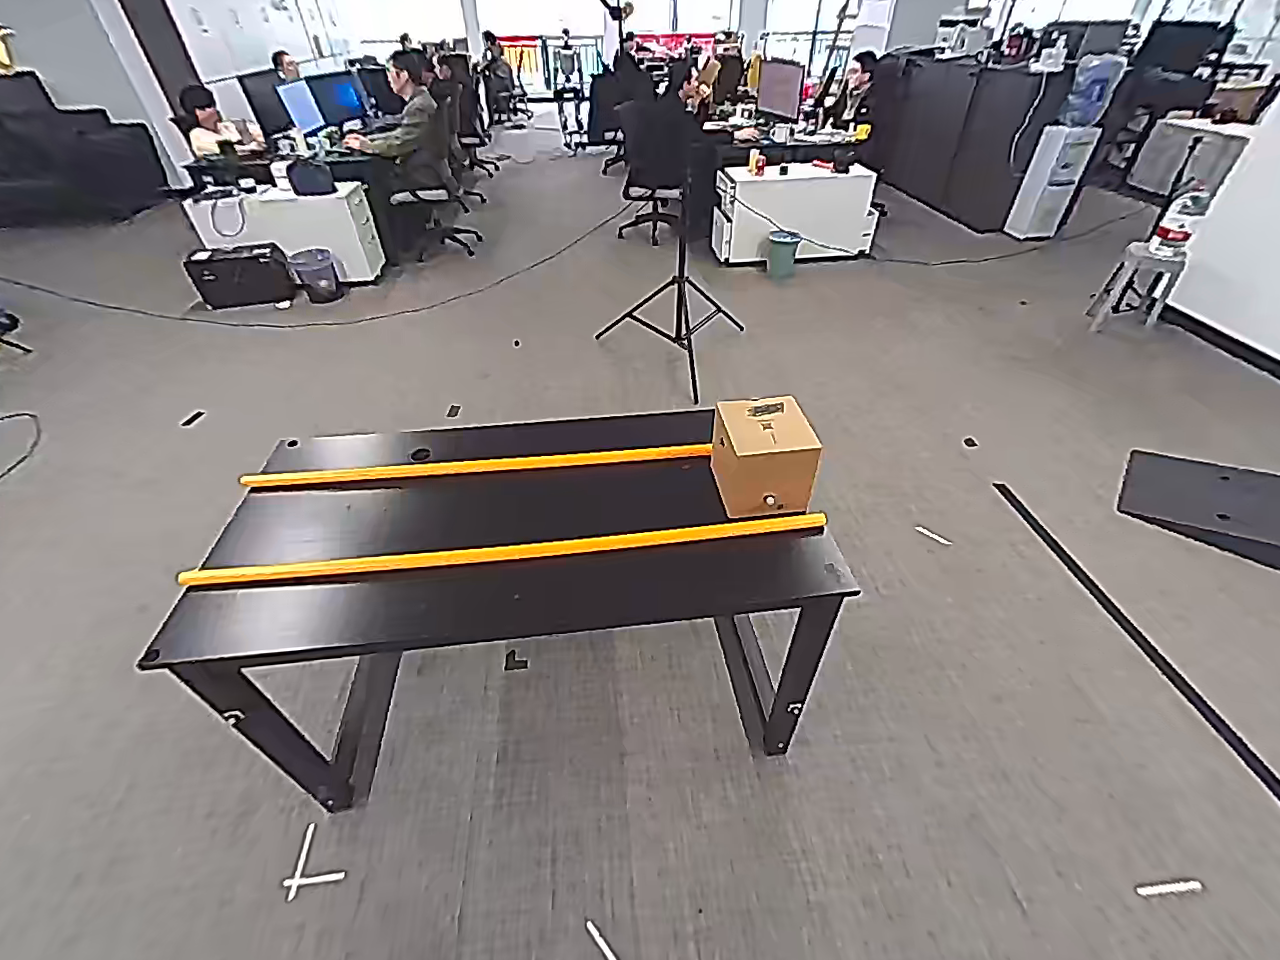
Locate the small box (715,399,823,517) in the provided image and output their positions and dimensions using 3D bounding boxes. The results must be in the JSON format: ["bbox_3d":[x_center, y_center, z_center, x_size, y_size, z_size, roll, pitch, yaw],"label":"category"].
[{"bbox_3d":[0.254,-0.046,1.116,0.168,0.176,0.179,-6,42,-4],"label":"small box"}]
